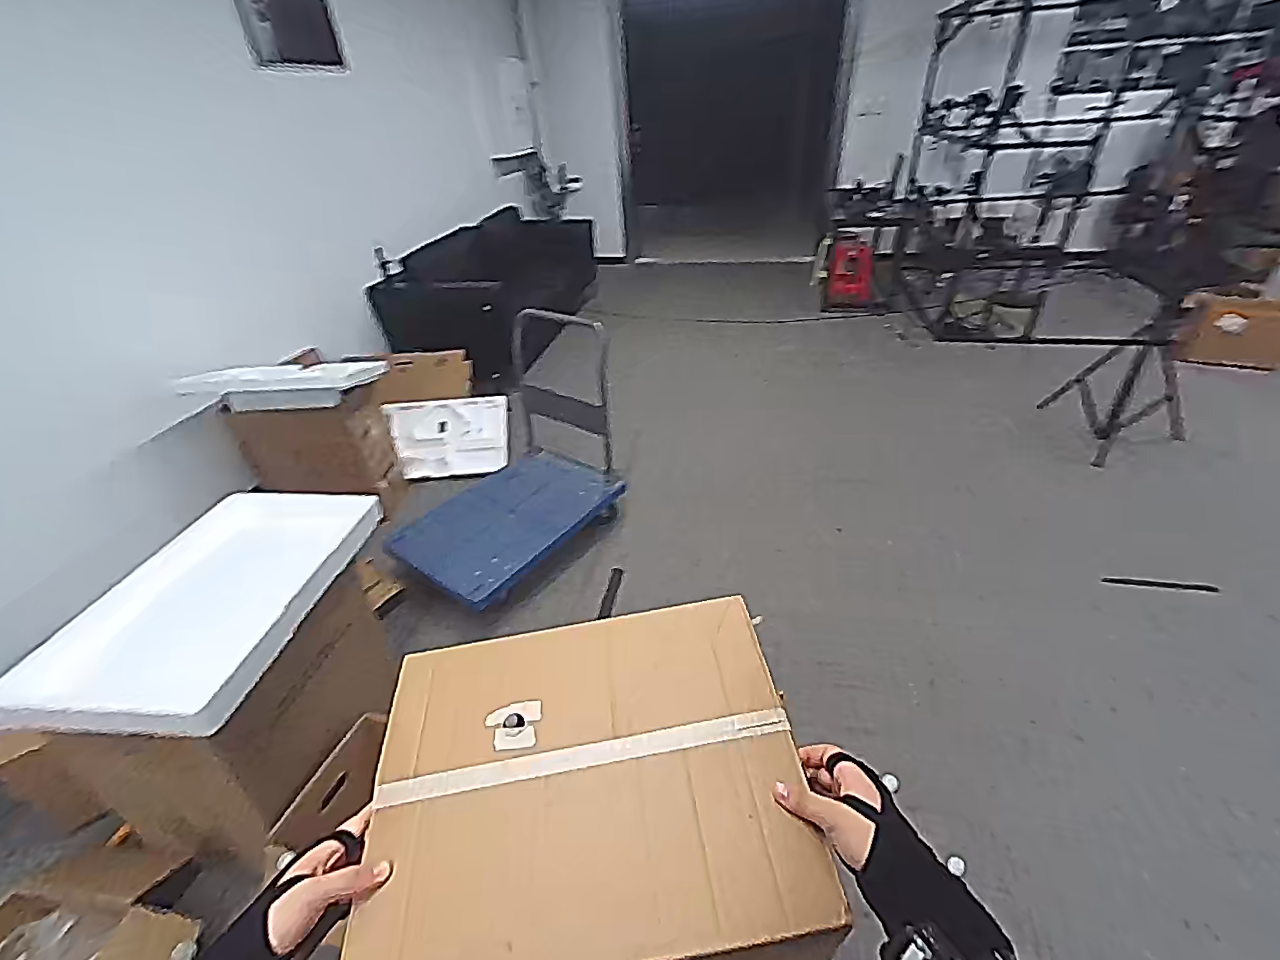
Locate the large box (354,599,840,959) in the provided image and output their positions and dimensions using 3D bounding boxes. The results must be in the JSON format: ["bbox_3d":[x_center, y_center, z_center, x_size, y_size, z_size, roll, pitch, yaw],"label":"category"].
[{"bbox_3d":[-0.036,0.390,0.627,0.408,0.320,0.320,-12,40,-1],"label":"large box"}]
